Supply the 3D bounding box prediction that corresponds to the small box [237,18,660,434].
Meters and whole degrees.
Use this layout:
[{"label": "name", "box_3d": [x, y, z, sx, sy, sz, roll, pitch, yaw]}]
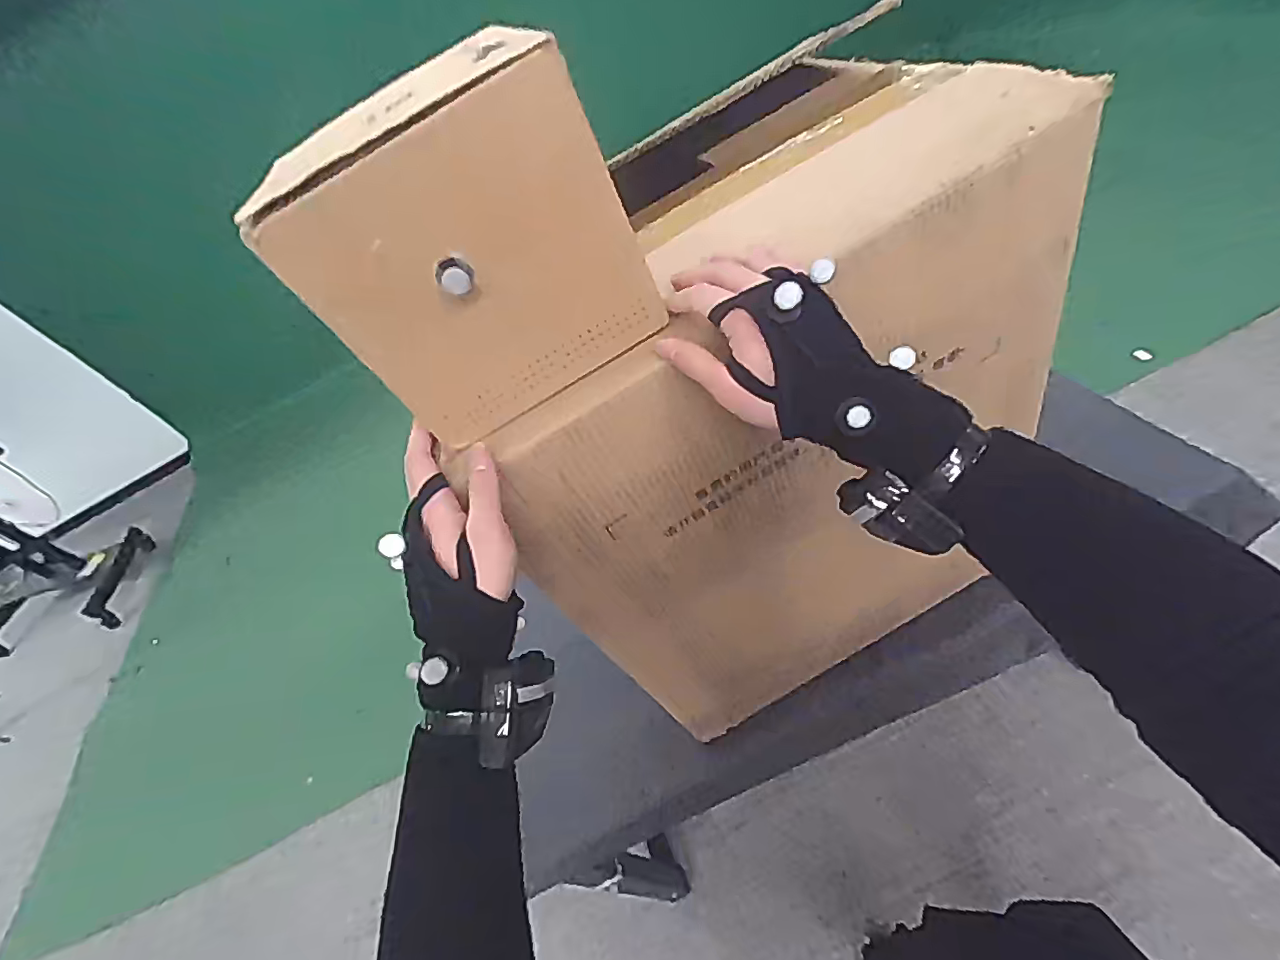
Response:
[{"label": "small box", "box_3d": [-0.113, -0.163, 0.363, 0.179, 0.176, 0.168, -32, 47, 2]}]
